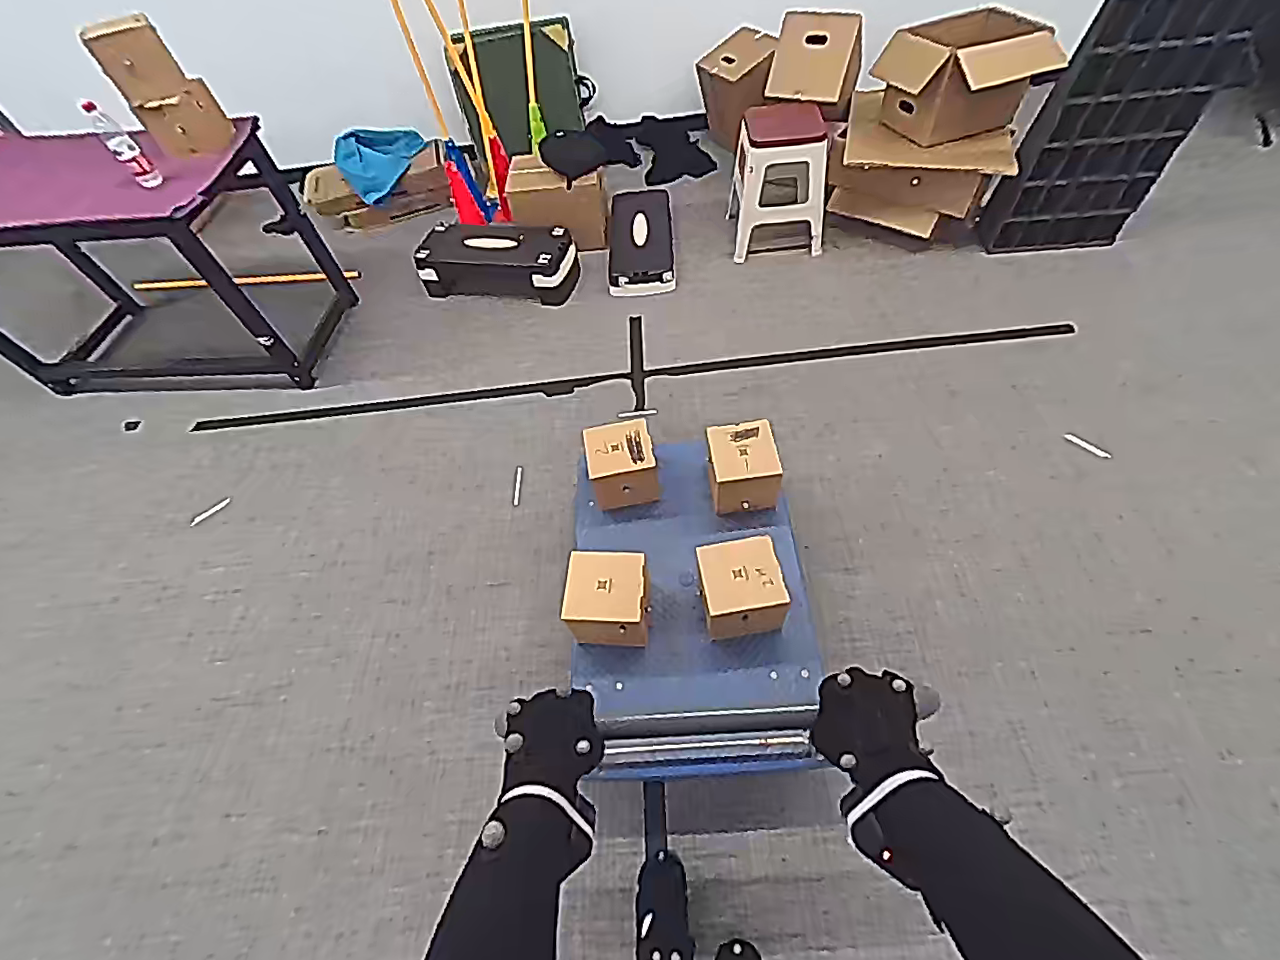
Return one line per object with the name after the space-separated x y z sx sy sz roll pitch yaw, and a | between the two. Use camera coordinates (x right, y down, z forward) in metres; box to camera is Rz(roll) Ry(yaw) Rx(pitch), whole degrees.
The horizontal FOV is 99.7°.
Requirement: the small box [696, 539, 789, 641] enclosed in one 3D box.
0.232 0.261 1.258 0.179 0.176 0.168 -10 56 0 | small box

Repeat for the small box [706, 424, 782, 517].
0.270 -0.022 1.443 0.168 0.176 0.179 -8 57 2 | small box

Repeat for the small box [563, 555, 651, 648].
-0.070 0.290 1.275 0.179 0.176 0.168 0 56 6 | small box
